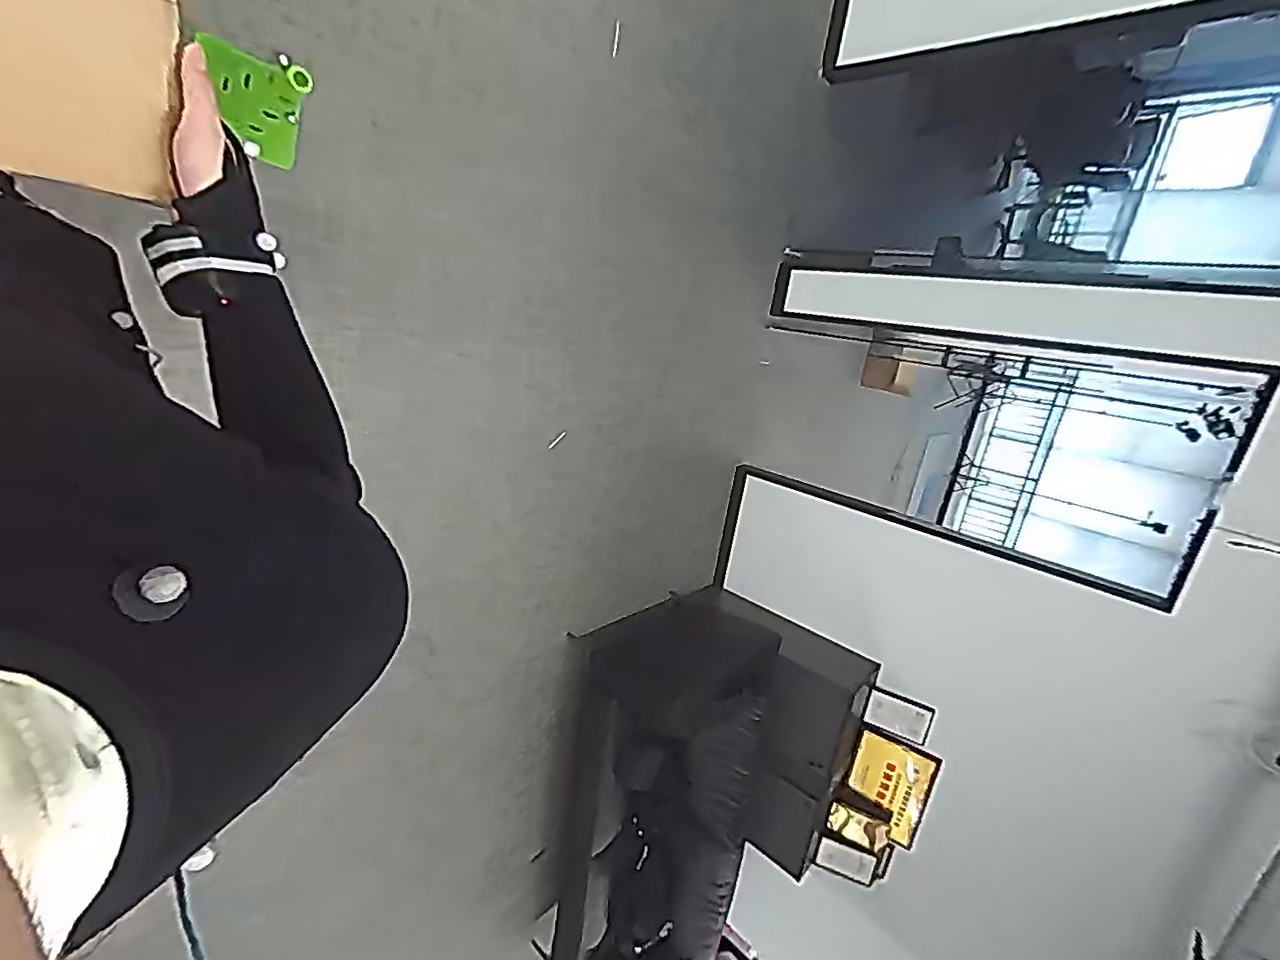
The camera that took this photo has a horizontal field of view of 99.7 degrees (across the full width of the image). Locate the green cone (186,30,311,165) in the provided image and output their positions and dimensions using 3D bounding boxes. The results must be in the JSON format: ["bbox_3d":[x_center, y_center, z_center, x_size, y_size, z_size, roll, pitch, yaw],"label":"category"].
[{"bbox_3d":[-0.754,-0.794,1.100,0.200,0.368,0.202,-1,107,-51],"label":"green cone"}]
